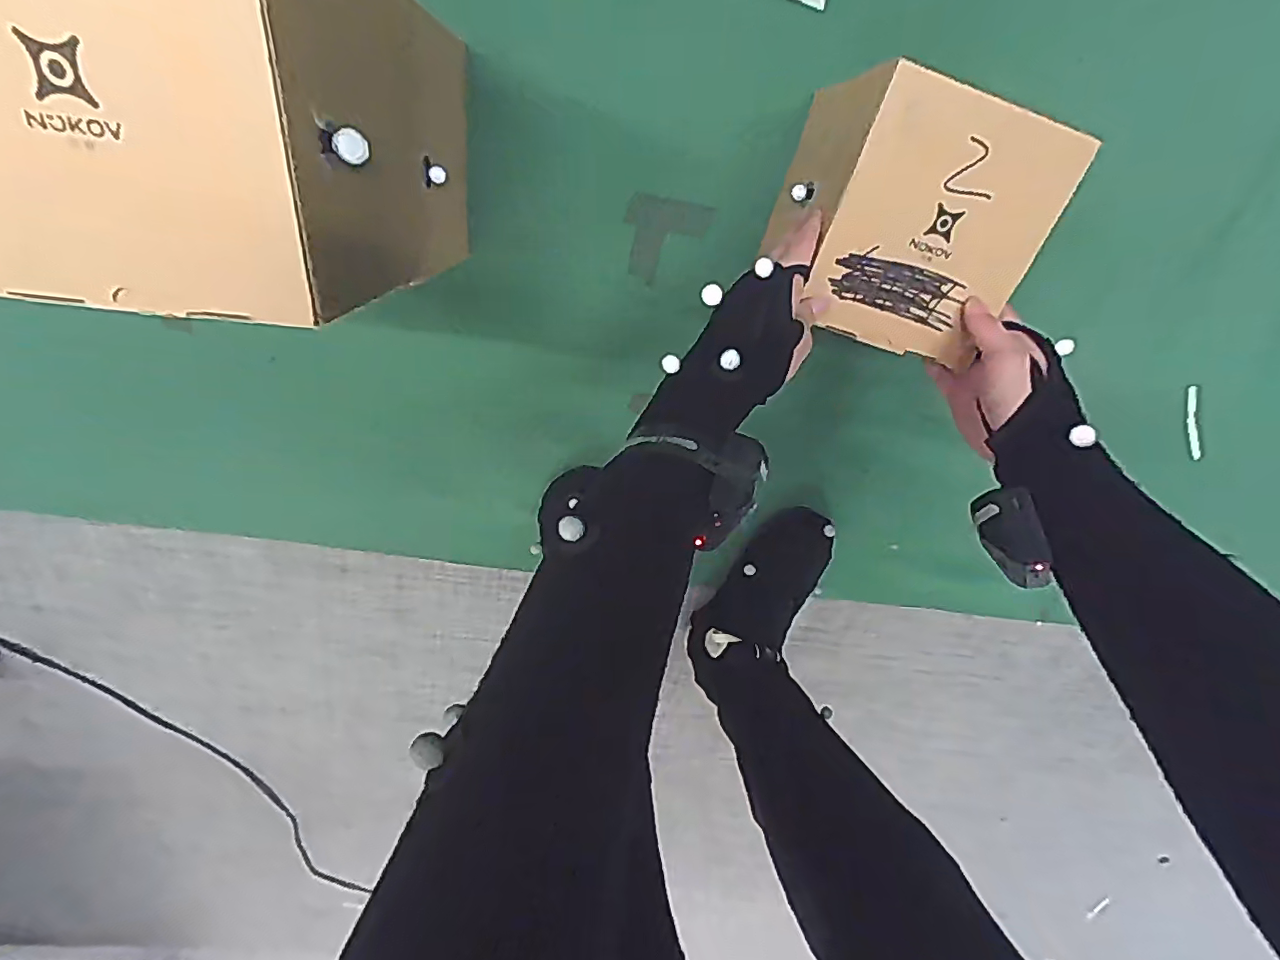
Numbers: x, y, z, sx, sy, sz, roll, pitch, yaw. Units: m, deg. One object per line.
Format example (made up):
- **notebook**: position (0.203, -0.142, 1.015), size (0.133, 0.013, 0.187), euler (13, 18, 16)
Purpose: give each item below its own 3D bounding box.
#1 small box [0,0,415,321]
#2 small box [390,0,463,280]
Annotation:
- **small box**: position (-0.229, -0.198, 0.280), size (0.168, 0.176, 0.179), euler (5, 120, -6)
- **small box**: position (-0.241, -0.273, 0.424), size (0.168, 0.176, 0.179), euler (6, 119, -7)
